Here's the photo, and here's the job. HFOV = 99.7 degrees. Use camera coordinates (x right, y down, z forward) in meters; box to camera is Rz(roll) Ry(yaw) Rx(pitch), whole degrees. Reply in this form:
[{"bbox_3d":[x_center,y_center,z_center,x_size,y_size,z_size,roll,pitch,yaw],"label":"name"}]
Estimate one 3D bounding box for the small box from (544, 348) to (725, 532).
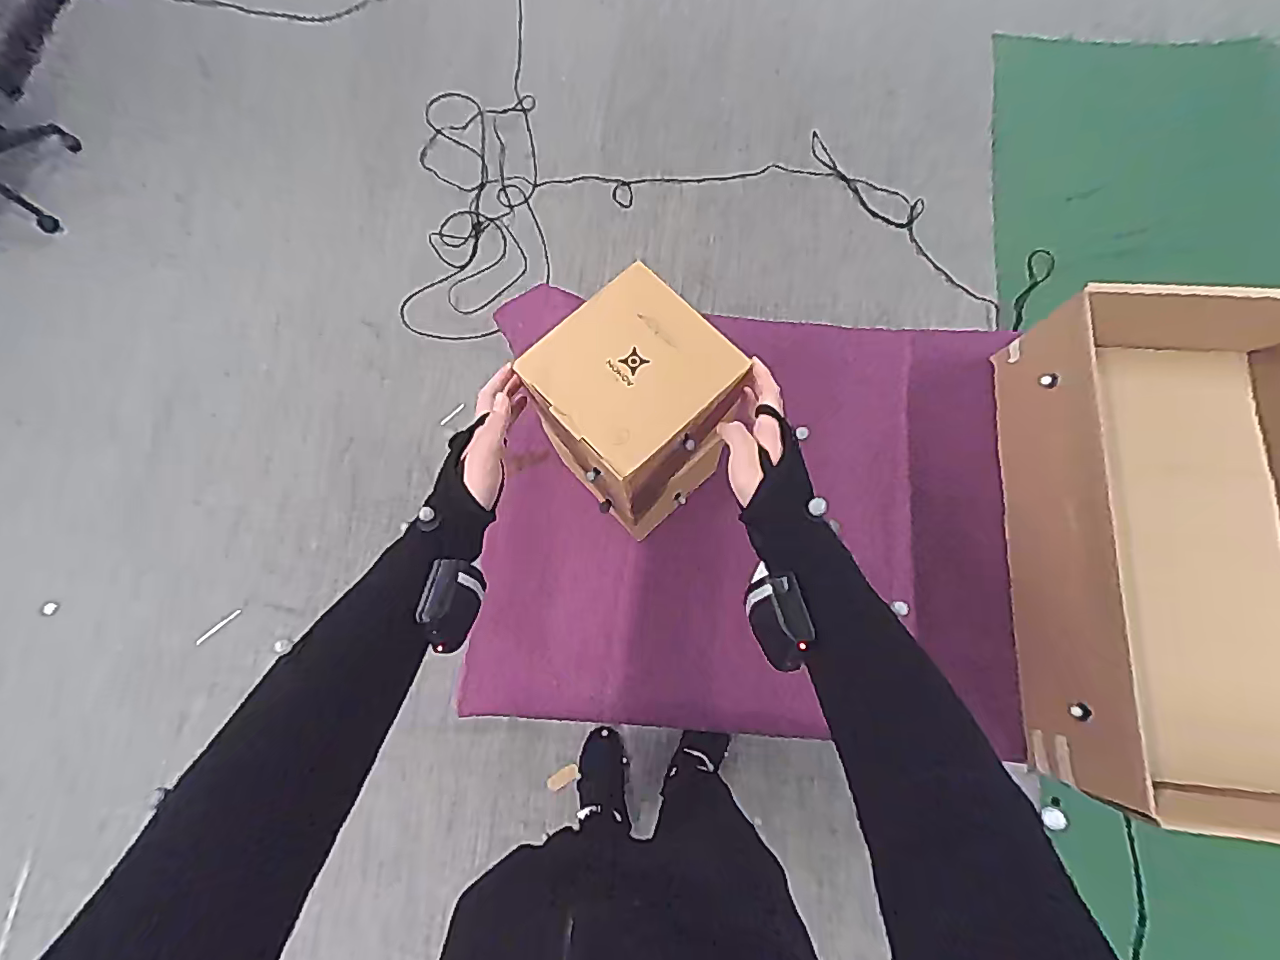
[{"bbox_3d":[-0.005,-0.043,0.761,0.168,0.176,0.179,-42,77,-10],"label":"small box"}]
